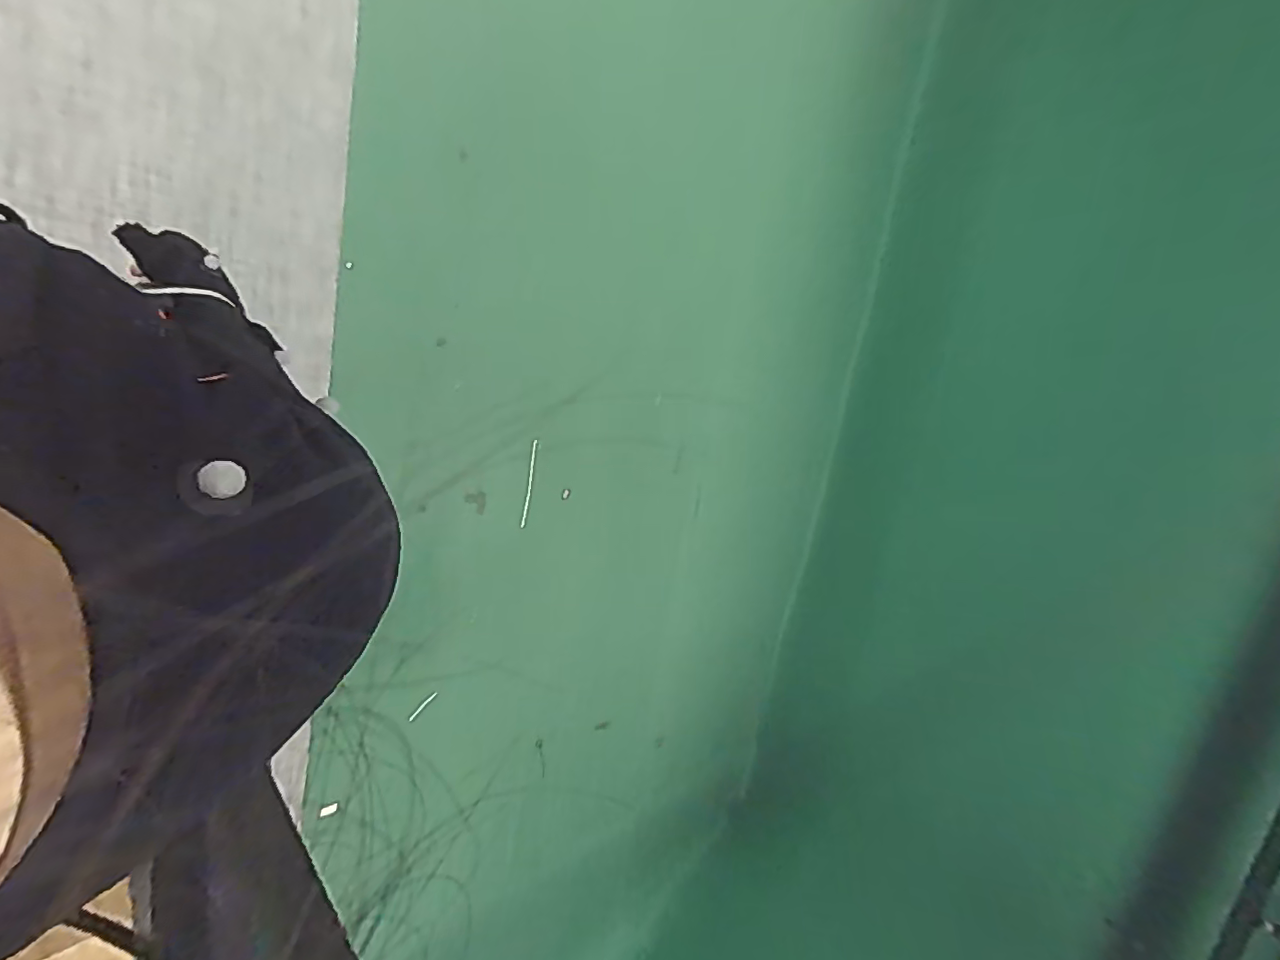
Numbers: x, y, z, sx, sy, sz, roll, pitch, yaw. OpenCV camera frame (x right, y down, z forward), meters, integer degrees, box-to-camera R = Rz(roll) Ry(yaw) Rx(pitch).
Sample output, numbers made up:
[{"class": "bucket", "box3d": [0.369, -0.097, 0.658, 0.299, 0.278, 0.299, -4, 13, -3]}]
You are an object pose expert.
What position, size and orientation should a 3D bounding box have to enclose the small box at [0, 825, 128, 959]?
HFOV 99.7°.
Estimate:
[{"class": "small box", "box3d": [-0.648, 0.500, 0.555, 0.168, 0.176, 0.179, -5, 110, -47]}]
